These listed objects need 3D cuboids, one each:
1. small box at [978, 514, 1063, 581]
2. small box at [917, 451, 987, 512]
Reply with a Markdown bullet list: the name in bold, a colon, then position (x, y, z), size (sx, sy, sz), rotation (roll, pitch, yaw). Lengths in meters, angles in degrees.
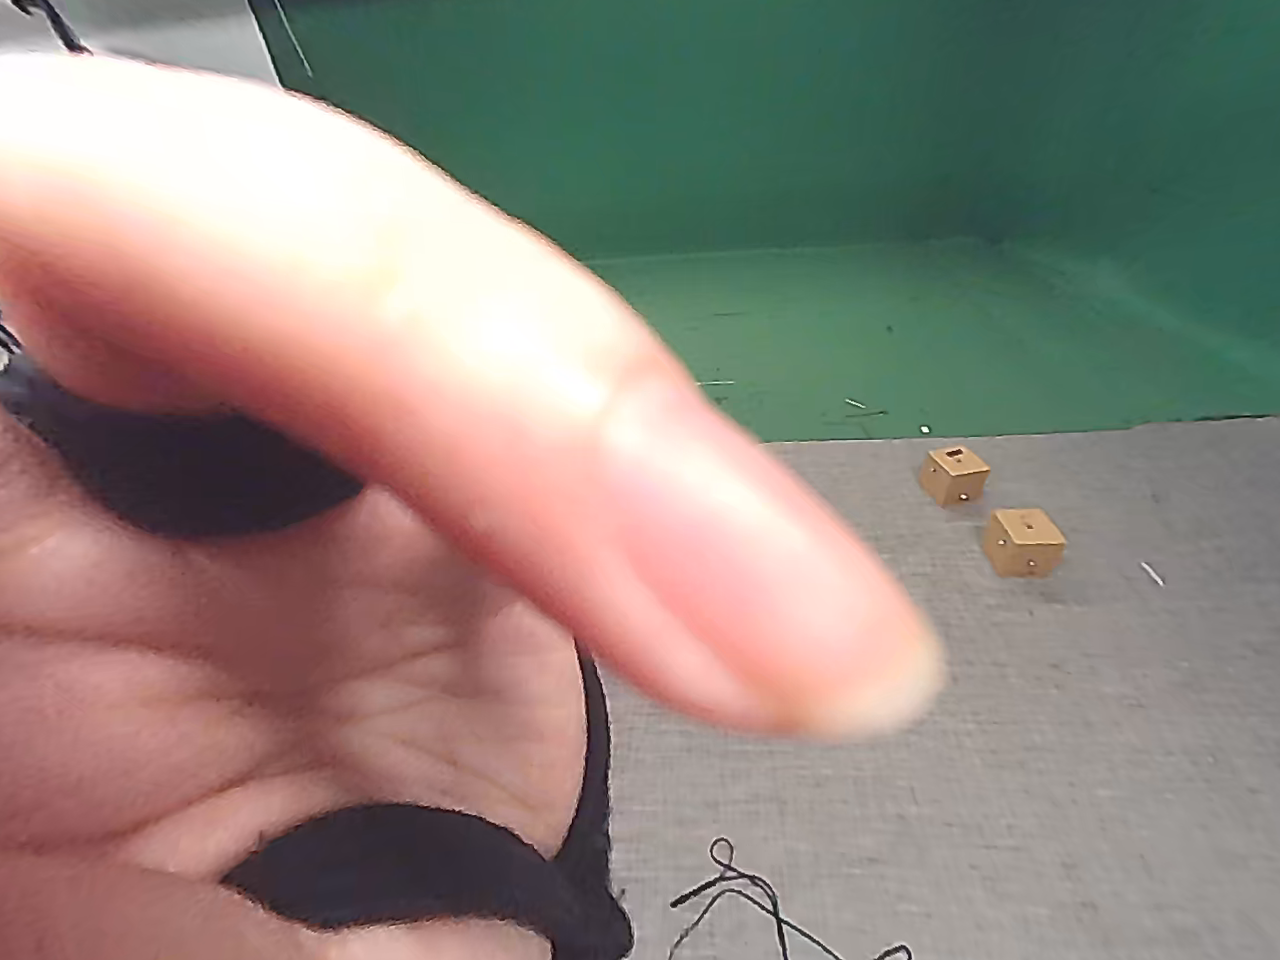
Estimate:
- **small box**: position (1.336, 0.241, 1.912), size (0.168, 0.176, 0.179), rotation (-1, 37, 5)
- **small box**: position (1.278, 0.006, 2.229), size (0.168, 0.176, 0.179), rotation (-9, 38, -4)
